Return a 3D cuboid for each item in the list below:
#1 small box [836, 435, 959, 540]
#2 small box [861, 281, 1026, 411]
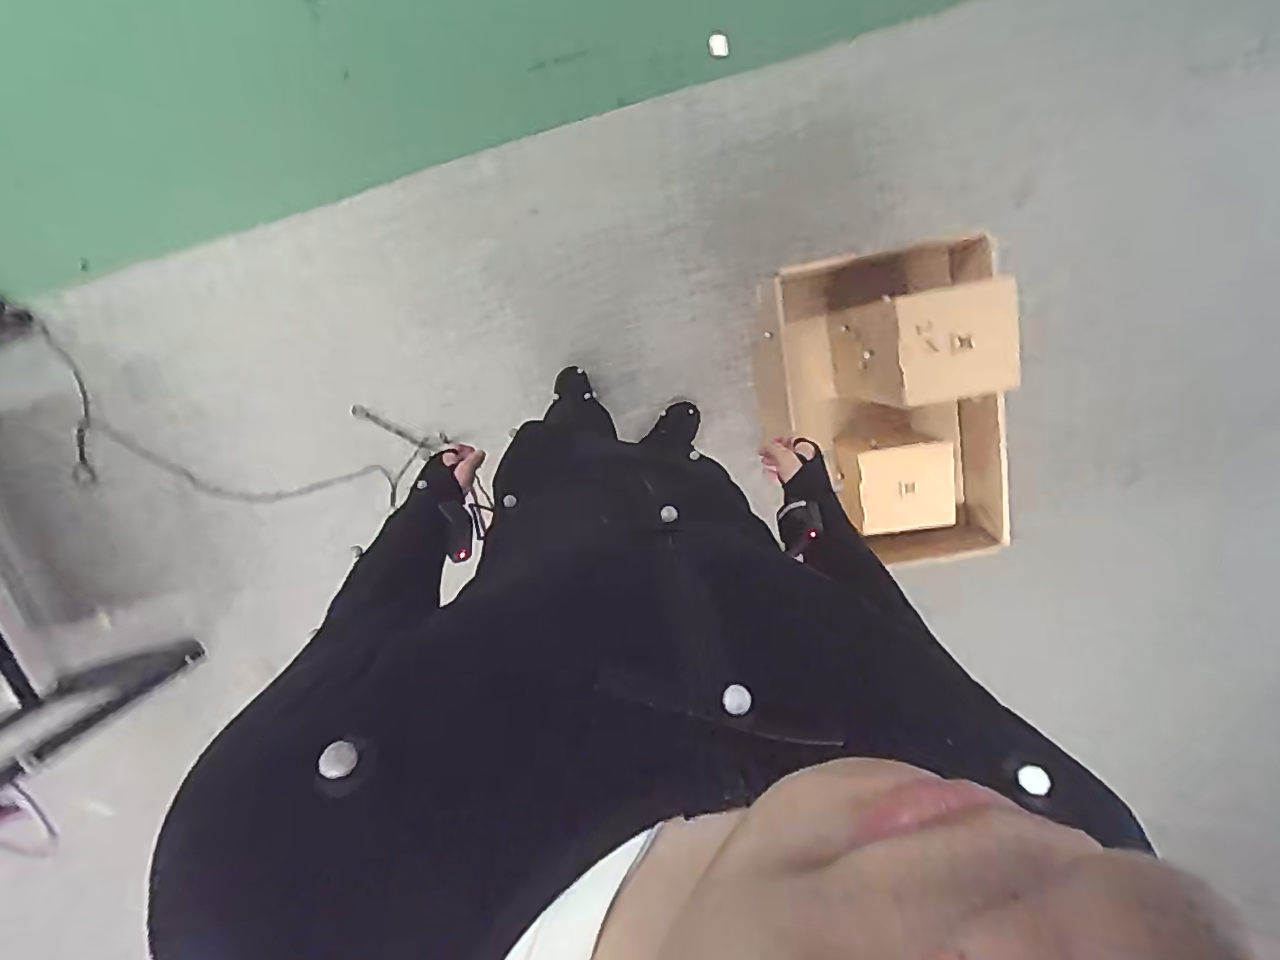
[{"bbox_3d":[0.513,0.009,1.092,0.179,0.176,0.168,-8,102,5],"label":"small box"},{"bbox_3d":[0.480,-0.214,0.873,0.179,0.176,0.168,-9,102,5],"label":"small box"}]
